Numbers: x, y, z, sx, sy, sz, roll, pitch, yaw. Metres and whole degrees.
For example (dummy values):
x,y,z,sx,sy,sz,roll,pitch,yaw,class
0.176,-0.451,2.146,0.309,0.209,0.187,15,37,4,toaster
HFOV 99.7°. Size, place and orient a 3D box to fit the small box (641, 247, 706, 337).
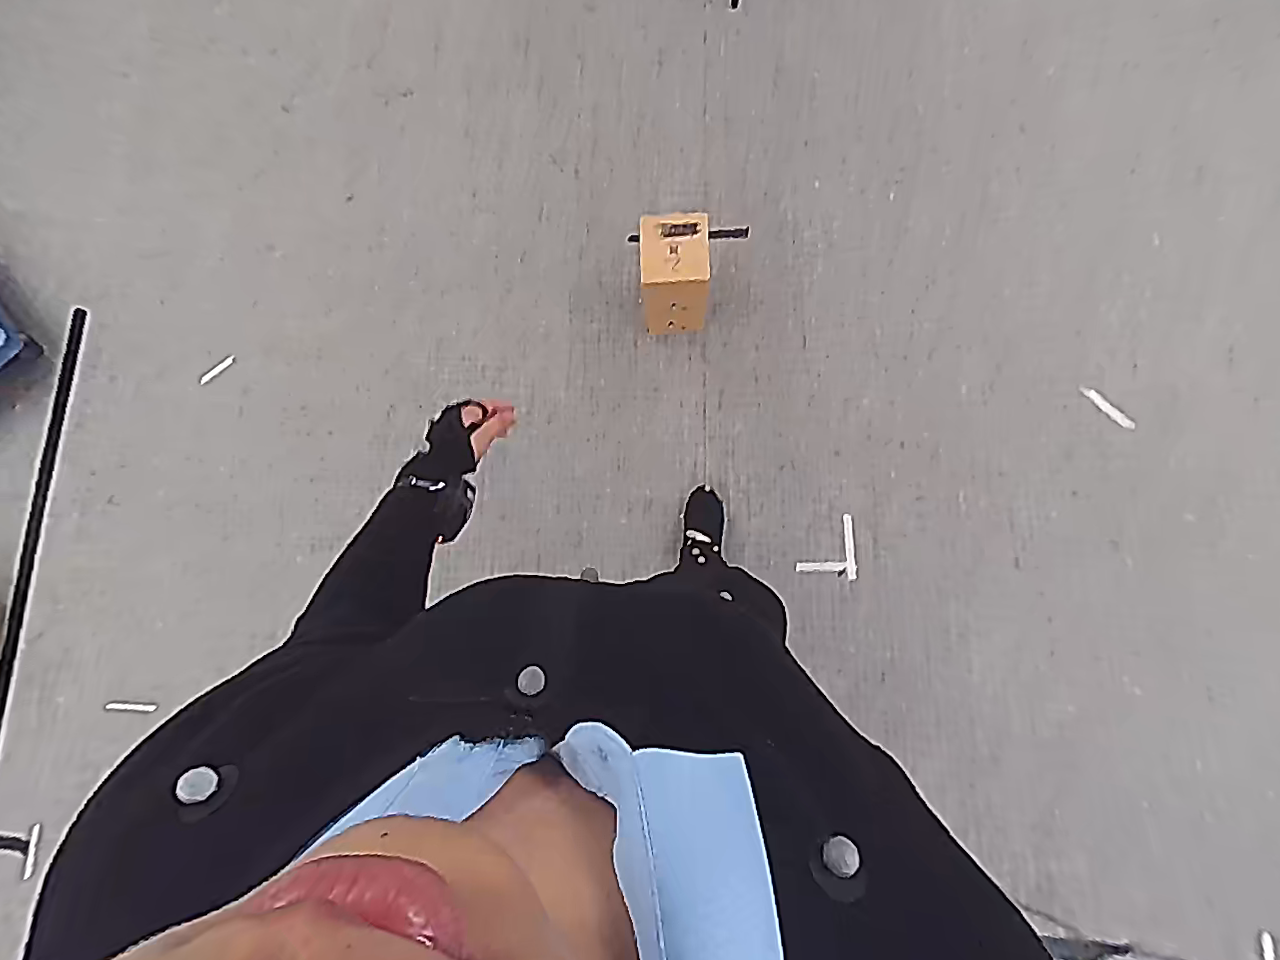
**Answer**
x,y,z,sx,sy,sz,roll,pitch,yaw,class
0.093,-0.525,1.525,0.168,0.176,0.179,-5,80,4,small box
